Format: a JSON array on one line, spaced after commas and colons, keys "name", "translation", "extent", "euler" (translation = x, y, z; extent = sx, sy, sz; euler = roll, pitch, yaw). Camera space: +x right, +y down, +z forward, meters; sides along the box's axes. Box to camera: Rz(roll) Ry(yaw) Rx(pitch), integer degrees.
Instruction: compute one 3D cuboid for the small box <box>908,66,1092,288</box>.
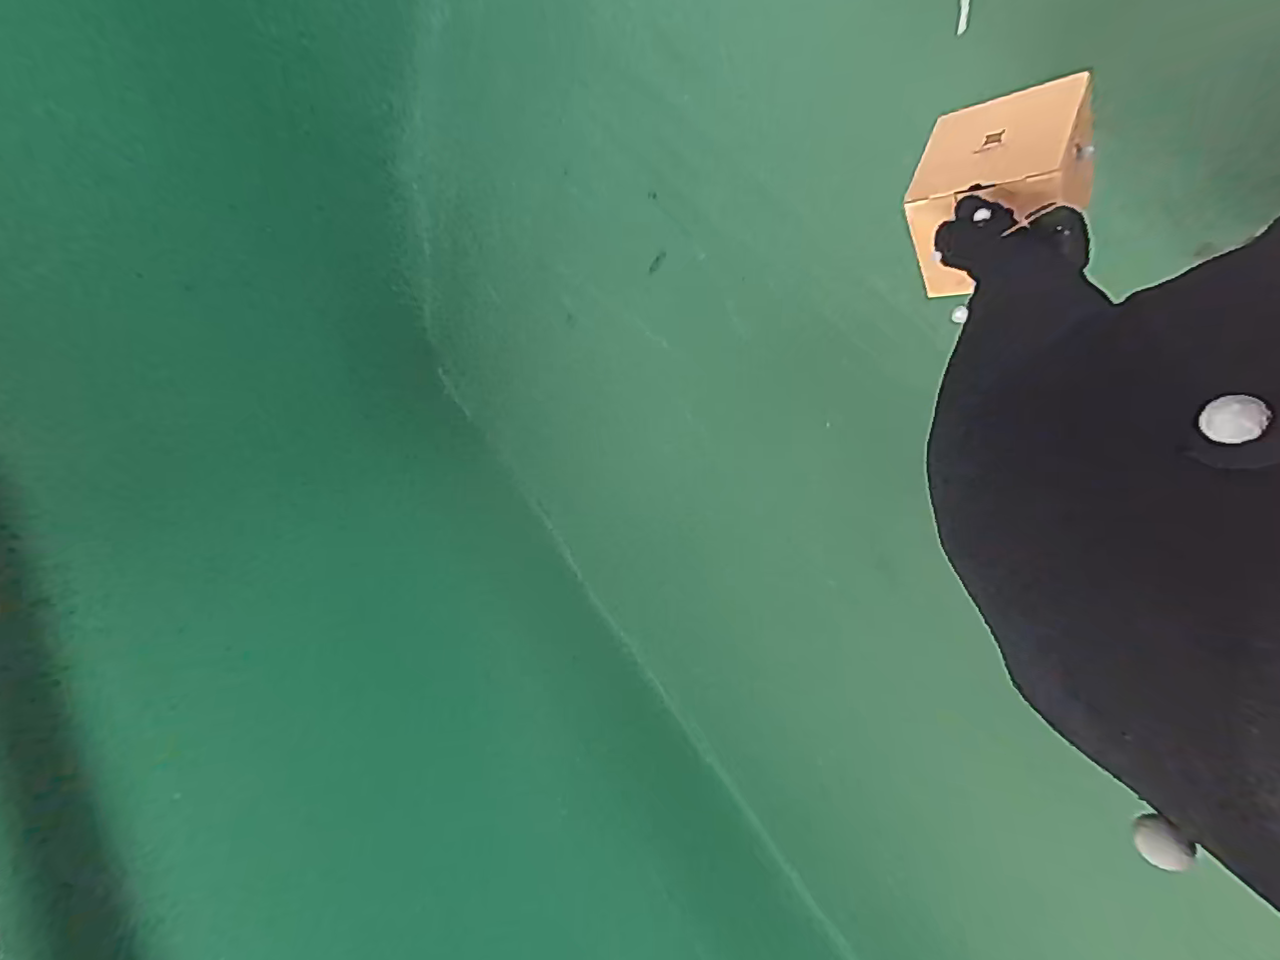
[{"name": "small box", "translation": [0.487, -0.390, 0.728], "extent": [0.168, 0.179, 0.176], "euler": [9, 157, 44]}]
